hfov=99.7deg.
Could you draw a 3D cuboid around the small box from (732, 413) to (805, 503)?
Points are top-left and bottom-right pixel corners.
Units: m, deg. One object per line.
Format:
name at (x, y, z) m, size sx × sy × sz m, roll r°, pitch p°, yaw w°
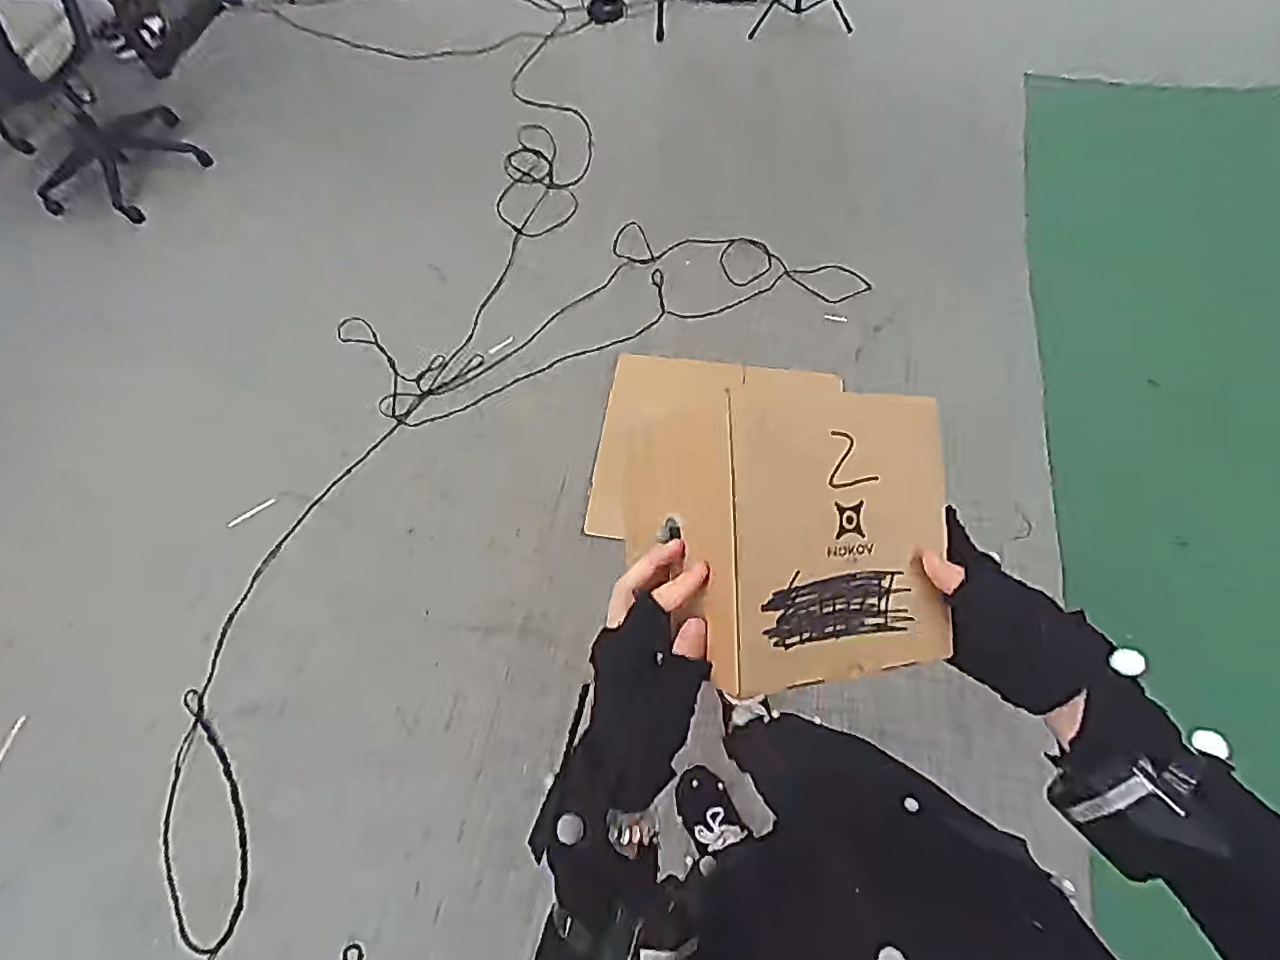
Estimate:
small box at (0.340, -0.056, 1.453) m, size 0.168 × 0.176 × 0.179 m, roll 6°, pitch 67°, yaw 8°
